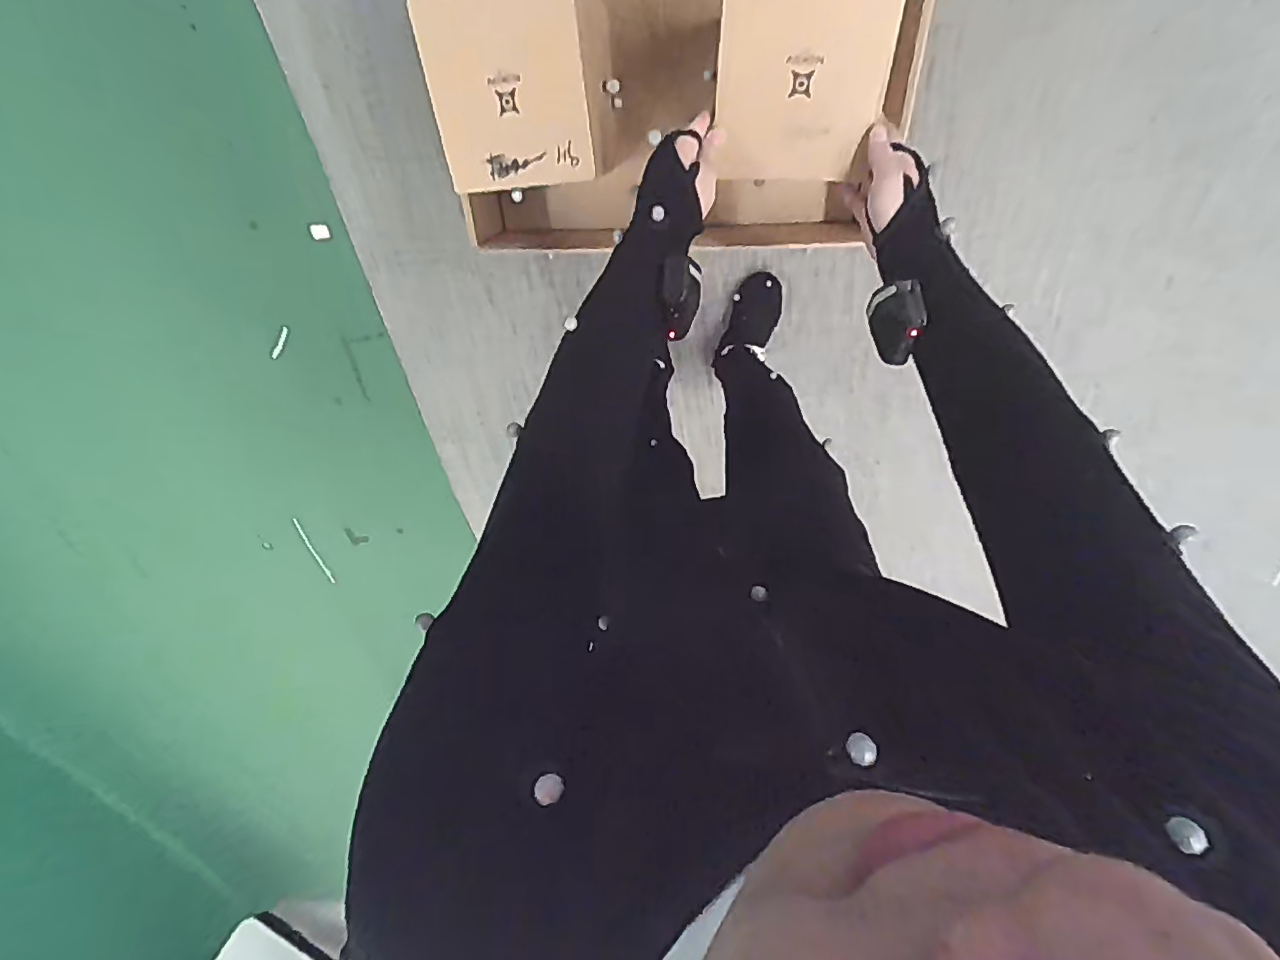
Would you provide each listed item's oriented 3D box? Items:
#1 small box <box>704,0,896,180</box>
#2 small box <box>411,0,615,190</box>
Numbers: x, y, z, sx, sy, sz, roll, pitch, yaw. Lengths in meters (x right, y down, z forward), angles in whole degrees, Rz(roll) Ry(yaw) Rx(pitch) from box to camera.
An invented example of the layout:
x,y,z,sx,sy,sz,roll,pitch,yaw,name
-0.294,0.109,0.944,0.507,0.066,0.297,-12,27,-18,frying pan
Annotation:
x,y,z,sx,sy,sz,roll,pitch,yaw,name
0.160,-0.439,0.595,0.168,0.176,0.179,5,125,6,small box
-0.130,-0.450,0.631,0.168,0.176,0.179,0,123,10,small box
